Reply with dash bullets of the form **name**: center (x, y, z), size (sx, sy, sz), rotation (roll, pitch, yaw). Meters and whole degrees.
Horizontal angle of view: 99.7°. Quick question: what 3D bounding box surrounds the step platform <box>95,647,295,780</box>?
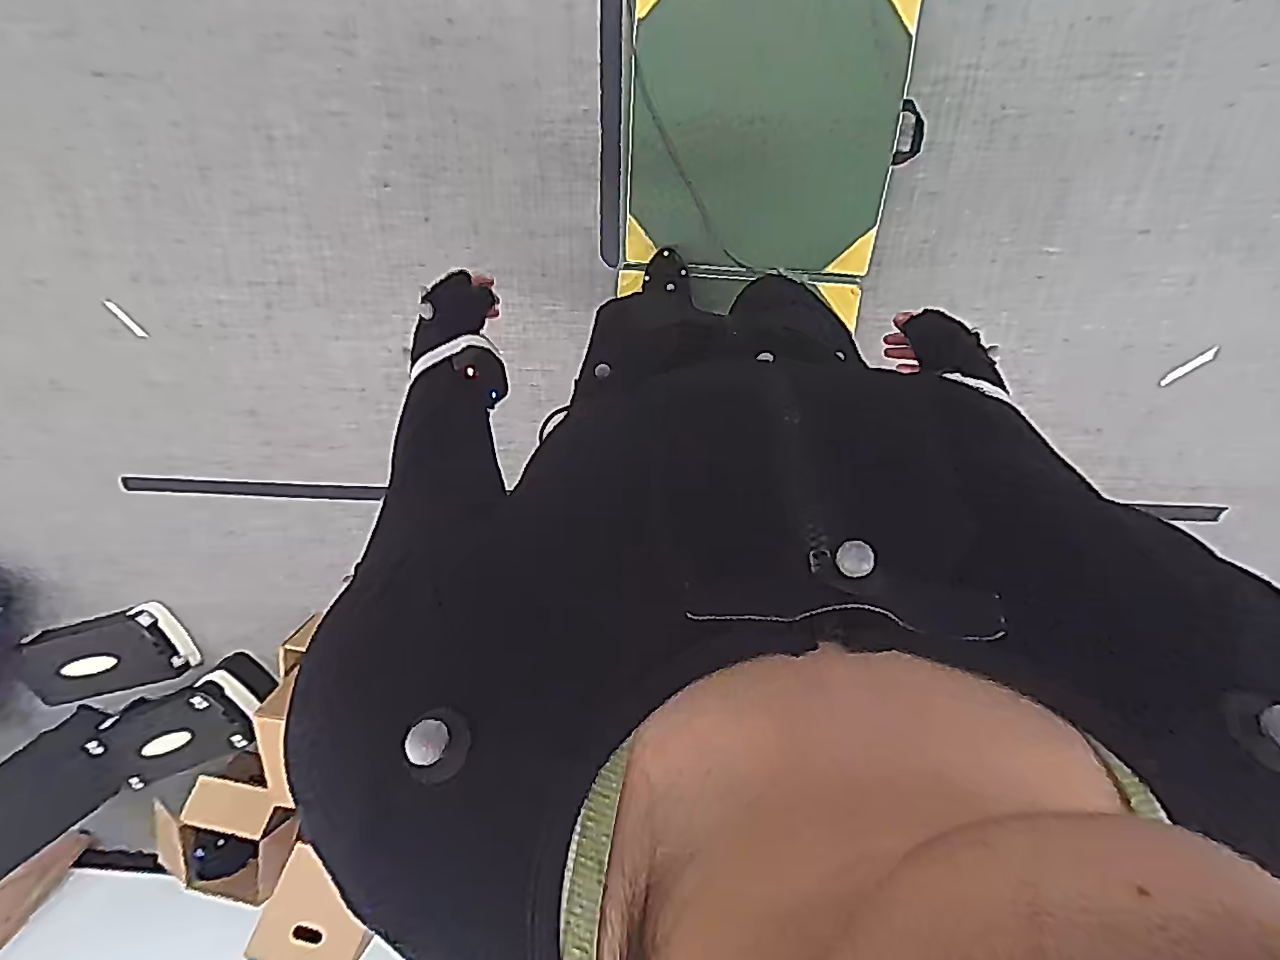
- **step platform**: center (-1.683, 0.890, 2.046), size (0.684, 0.204, 0.286), rotation (-25, 109, 13)
